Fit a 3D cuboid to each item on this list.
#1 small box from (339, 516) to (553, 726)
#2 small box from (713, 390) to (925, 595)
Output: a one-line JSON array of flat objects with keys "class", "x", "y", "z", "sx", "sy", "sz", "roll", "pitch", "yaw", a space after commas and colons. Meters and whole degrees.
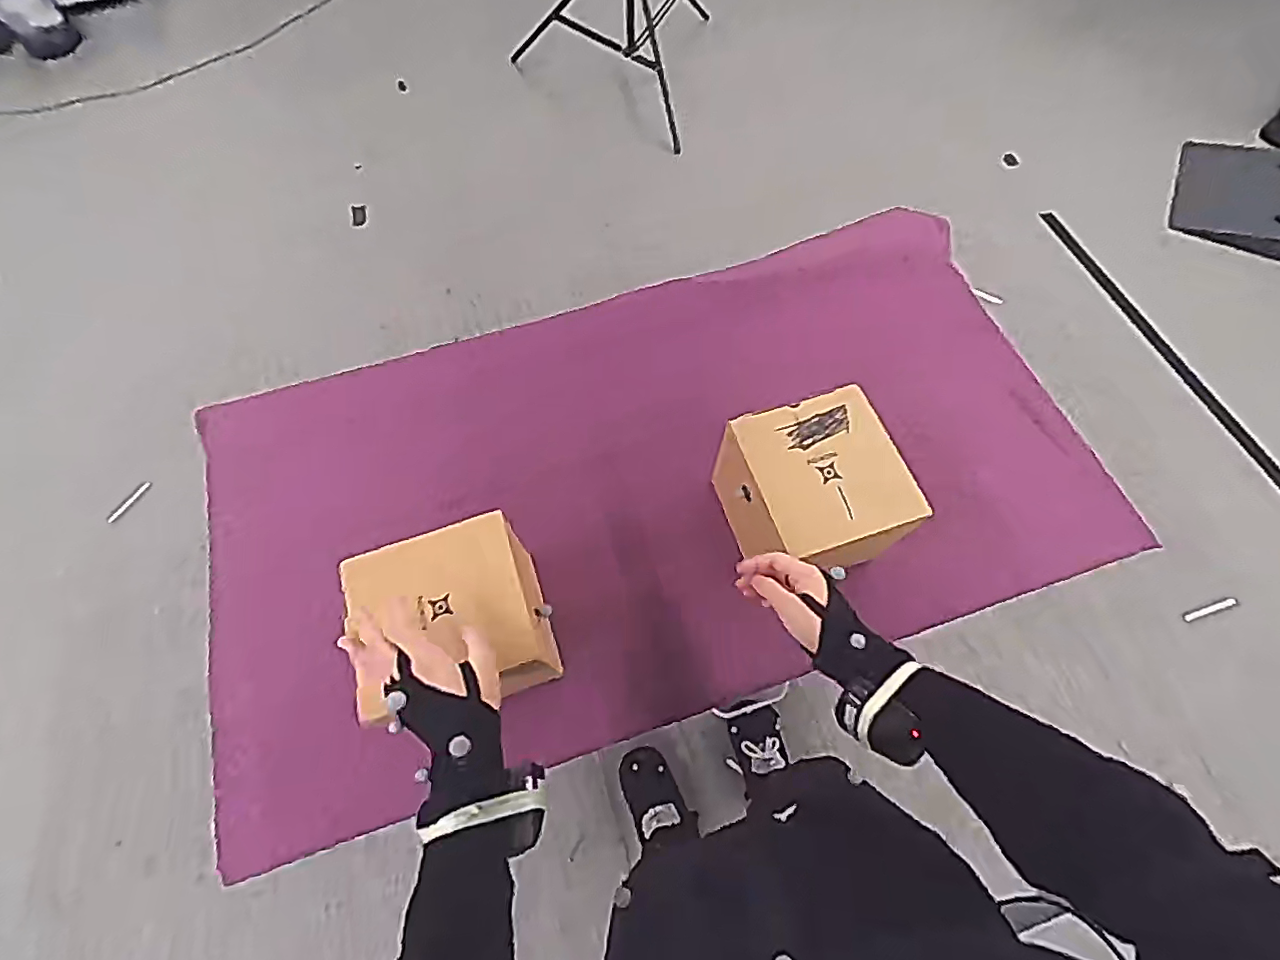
[{"class": "small box", "x": -0.206, "y": 0.165, "z": 0.617, "sx": 0.179, "sy": 0.176, "sz": 0.168, "roll": -19, "pitch": 67, "yaw": -7}, {"class": "small box", "x": 0.200, "y": 0.022, "z": 0.668, "sx": 0.168, "sy": 0.176, "sz": 0.179, "roll": -17, "pitch": 67, "yaw": -7}]
